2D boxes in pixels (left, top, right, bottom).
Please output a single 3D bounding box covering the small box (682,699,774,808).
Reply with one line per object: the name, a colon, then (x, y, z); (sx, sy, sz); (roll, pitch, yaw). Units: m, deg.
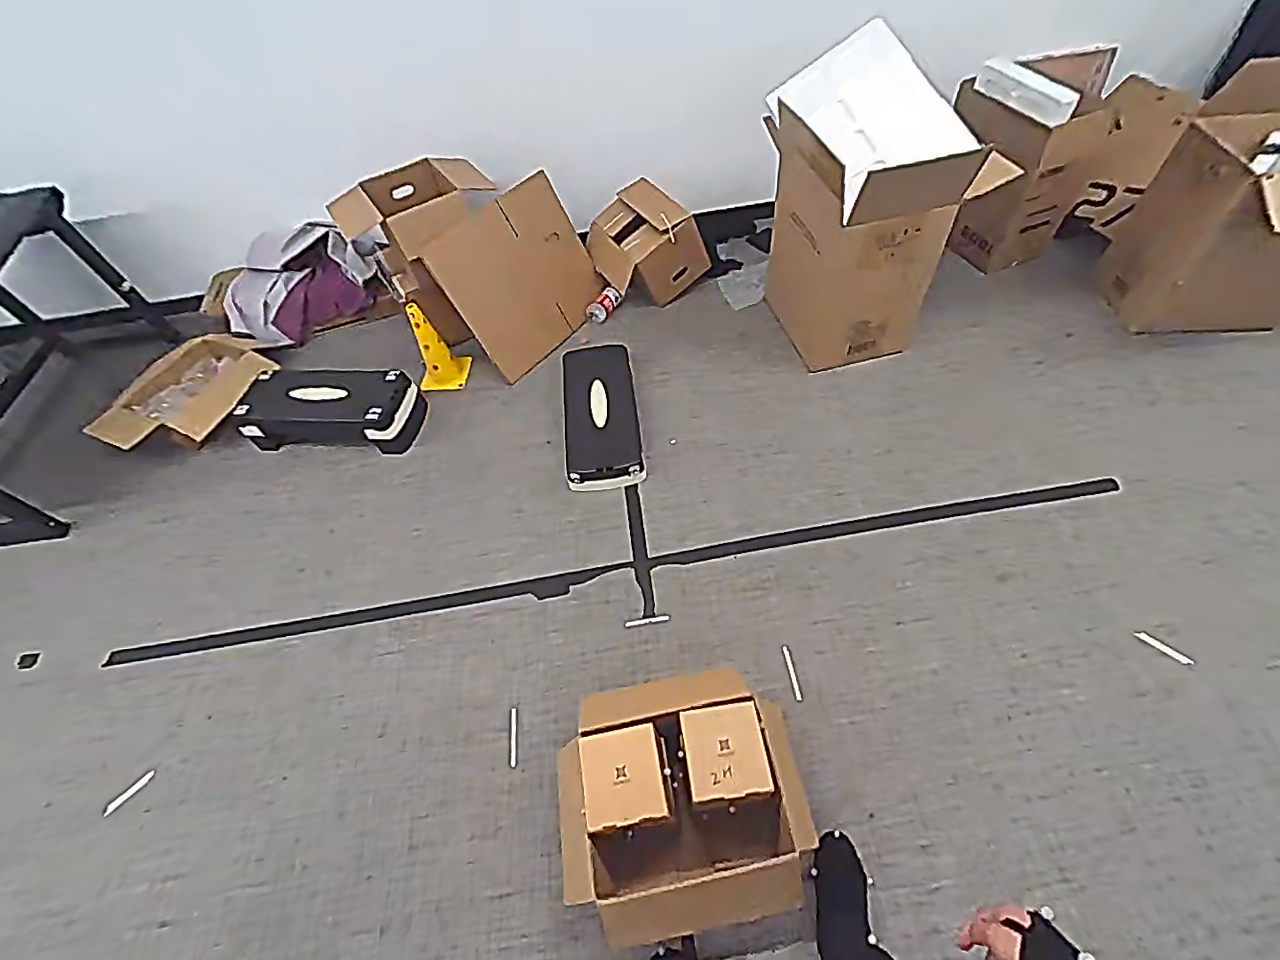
small box: (0.184, 0.600, 1.181); (0.168, 0.176, 0.179); (-9, 54, 1)
